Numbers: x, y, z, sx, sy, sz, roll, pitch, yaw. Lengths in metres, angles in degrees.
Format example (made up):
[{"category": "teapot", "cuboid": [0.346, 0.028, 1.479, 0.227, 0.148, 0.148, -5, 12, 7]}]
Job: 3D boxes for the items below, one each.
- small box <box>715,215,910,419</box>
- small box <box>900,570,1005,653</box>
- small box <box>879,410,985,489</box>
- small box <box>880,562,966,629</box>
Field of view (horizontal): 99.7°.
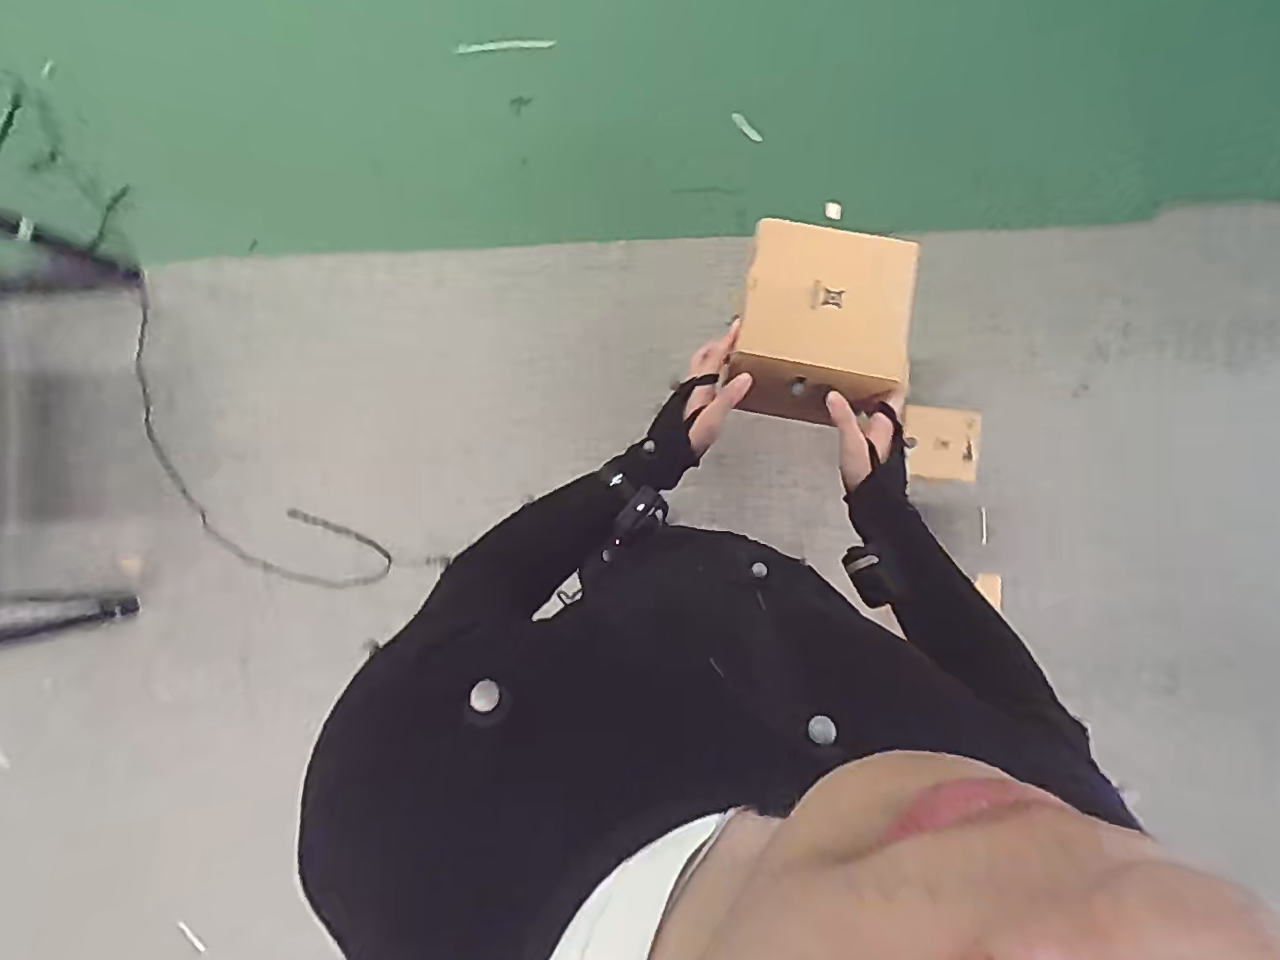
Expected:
[{"category": "small box", "cuboid": [0.197, -0.184, 0.658, 0.179, 0.176, 0.168, 11, 78, 5]}, {"category": "small box", "cuboid": [0.758, 0.316, 1.328, 0.179, 0.176, 0.168, 3, 87, 4]}, {"category": "small box", "cuboid": [0.720, -0.070, 1.352, 0.179, 0.176, 0.168, 8, 89, 5]}, {"category": "small box", "cuboid": [0.775, 0.321, 1.491, 0.168, 0.176, 0.179, 1, 87, 5]}]
